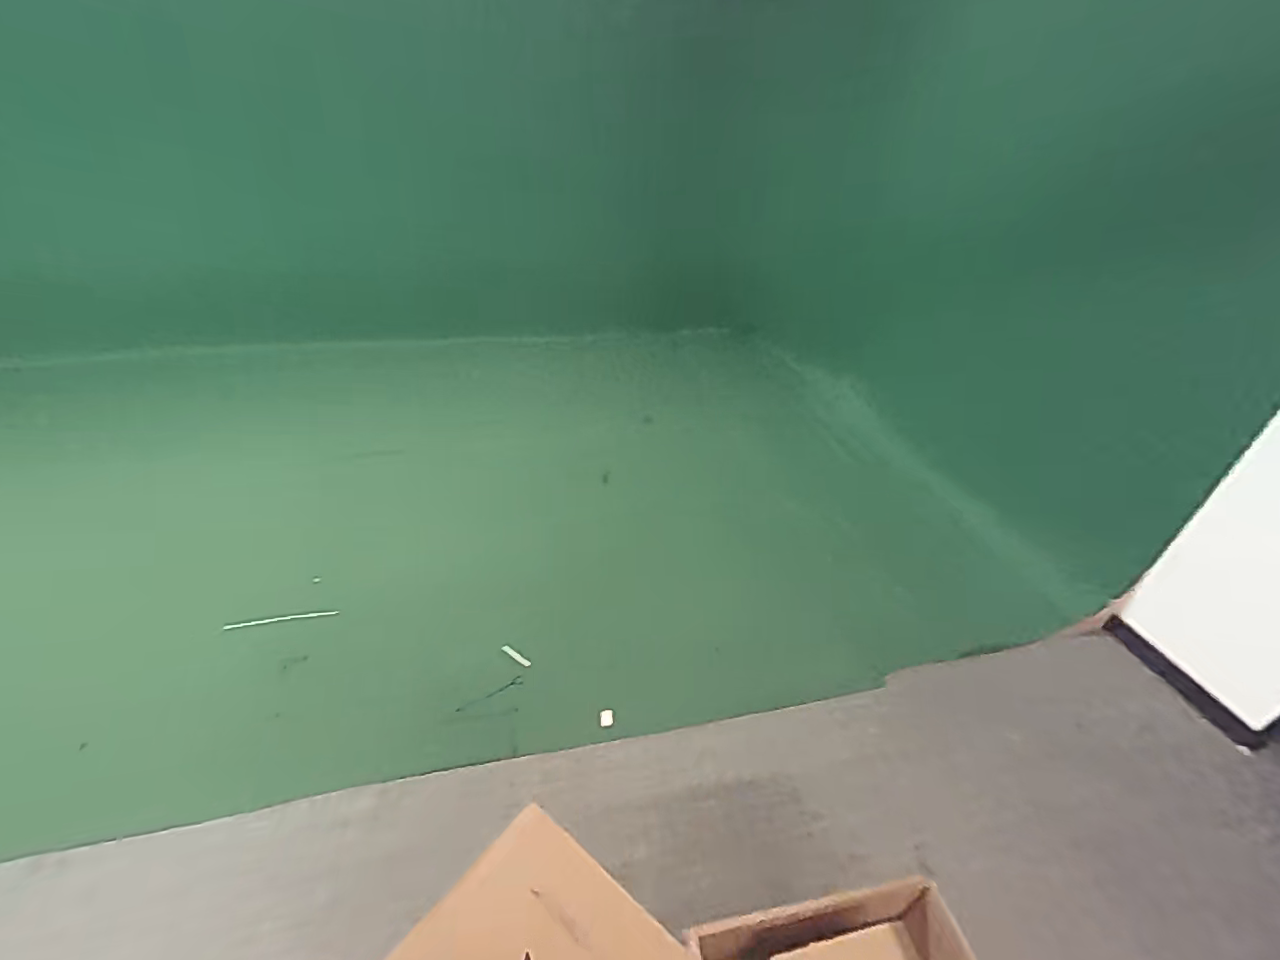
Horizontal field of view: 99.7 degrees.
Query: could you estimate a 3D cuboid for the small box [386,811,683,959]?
[{"bbox_3d":[-0.088,0.404,0.393,0.168,0.176,0.179,27,37,27],"label":"small box"}]
